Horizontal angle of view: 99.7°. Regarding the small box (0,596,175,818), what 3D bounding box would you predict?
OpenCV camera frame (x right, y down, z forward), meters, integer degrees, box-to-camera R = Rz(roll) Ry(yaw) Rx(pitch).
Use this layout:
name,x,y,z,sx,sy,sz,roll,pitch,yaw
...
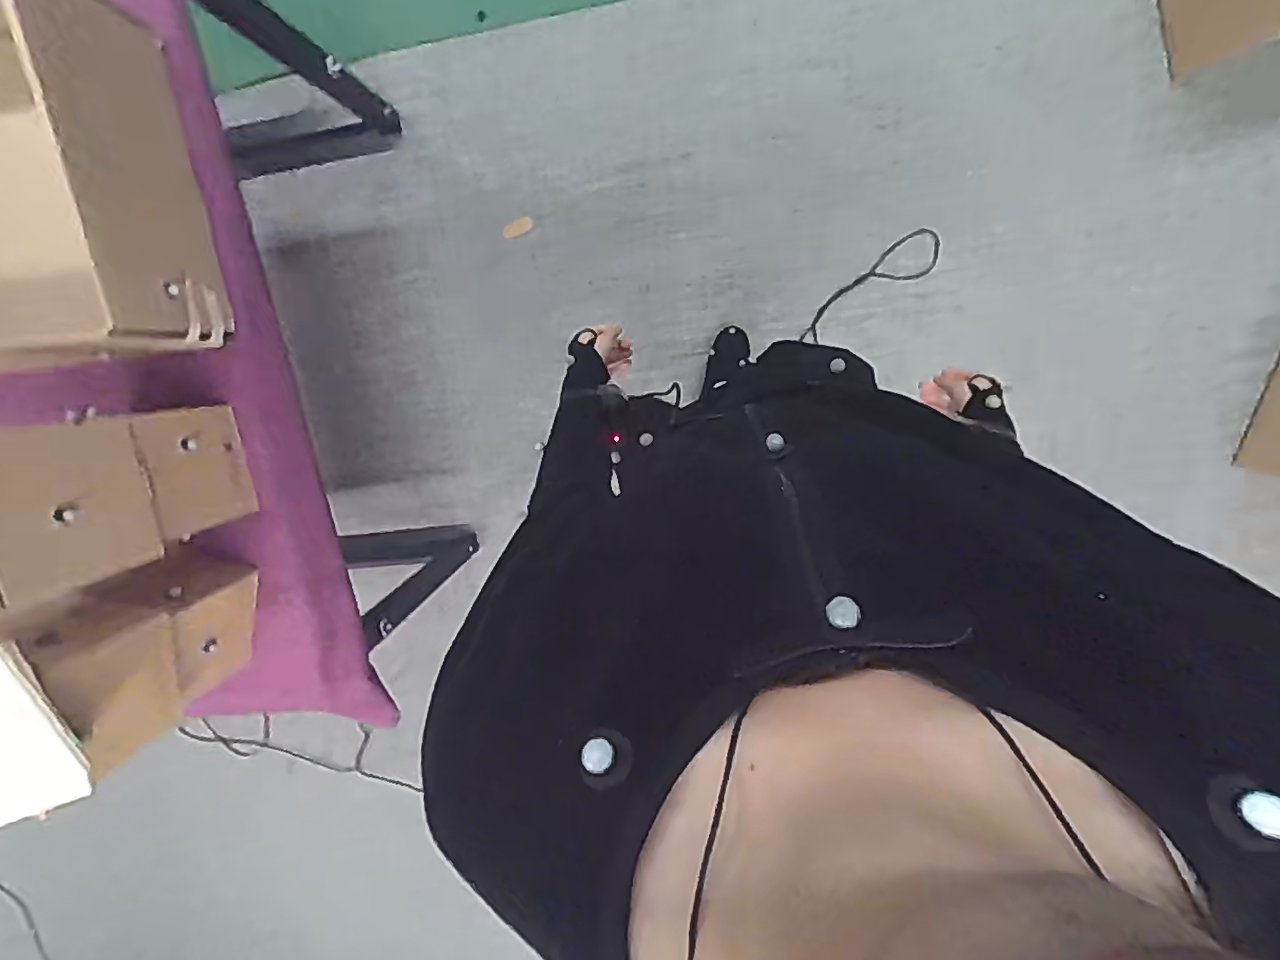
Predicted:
name,x,y,z,sx,sy,sz,roll,pitch,yaw
small box,-0.715,0.258,0.652,0.168,0.176,0.179,7,104,3

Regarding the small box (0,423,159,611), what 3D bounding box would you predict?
name,x,y,z,sx,sy,sz,roll,pitch,yaw
small box,-0.698,0.033,0.596,0.168,0.176,0.179,-5,102,8
